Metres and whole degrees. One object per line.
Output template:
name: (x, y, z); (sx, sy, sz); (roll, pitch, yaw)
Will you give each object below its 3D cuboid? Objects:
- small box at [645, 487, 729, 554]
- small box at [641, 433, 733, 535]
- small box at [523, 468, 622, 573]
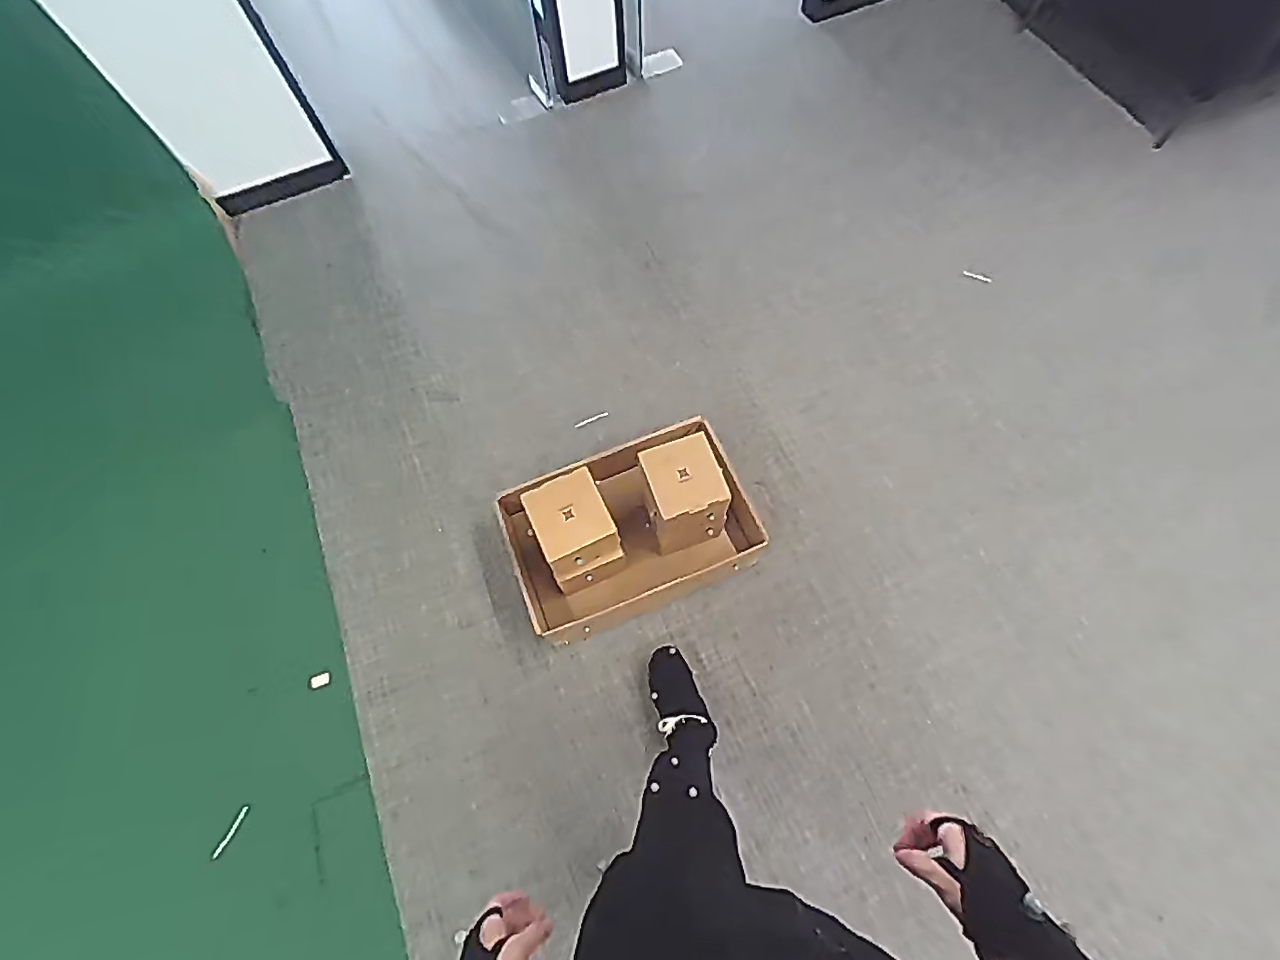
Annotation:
small box: (0.120, 0.080, 1.441); (0.179, 0.176, 0.168); (-19, 68, -4)
small box: (0.108, 0.019, 1.291); (0.168, 0.176, 0.179); (-18, 68, -6)
small box: (-0.151, 0.104, 1.269); (0.168, 0.176, 0.179); (-25, 69, -8)
